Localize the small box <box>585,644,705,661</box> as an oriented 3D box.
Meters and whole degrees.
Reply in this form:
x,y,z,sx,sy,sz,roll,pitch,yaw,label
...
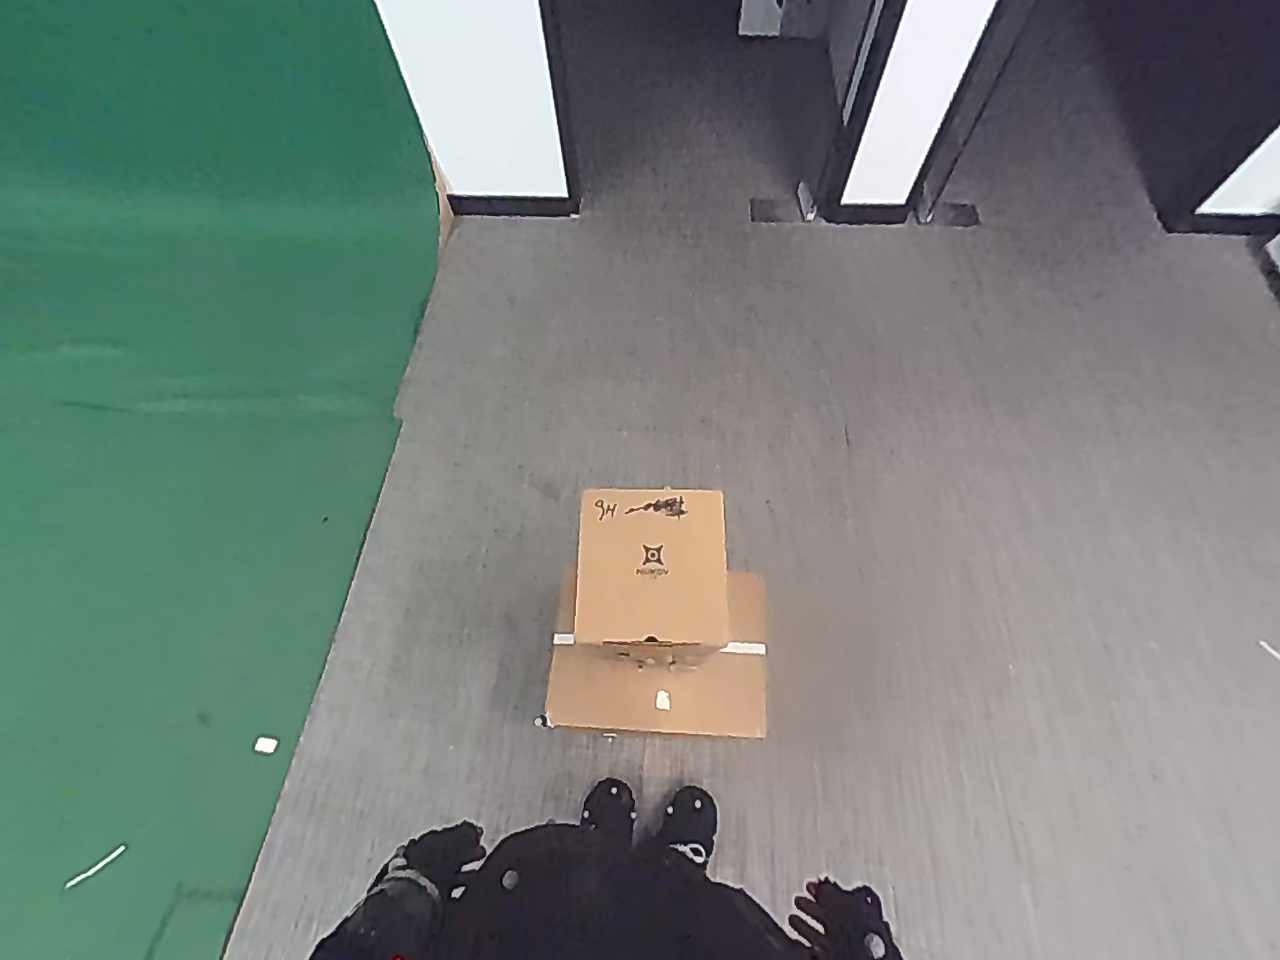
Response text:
x,y,z,sx,sy,sz,roll,pitch,yaw,label
0.012,0.182,0.831,0.168,0.176,0.179,2,68,1,small box

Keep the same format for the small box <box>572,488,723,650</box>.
x,y,z,sx,sy,sz,roll,pitch,yaw,label
0.012,0.119,0.679,0.168,0.176,0.179,1,70,1,small box

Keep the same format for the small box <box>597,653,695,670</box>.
x,y,z,sx,sy,sz,roll,pitch,yaw,label
0.016,0.244,0.977,0.179,0.176,0.168,9,68,5,small box
